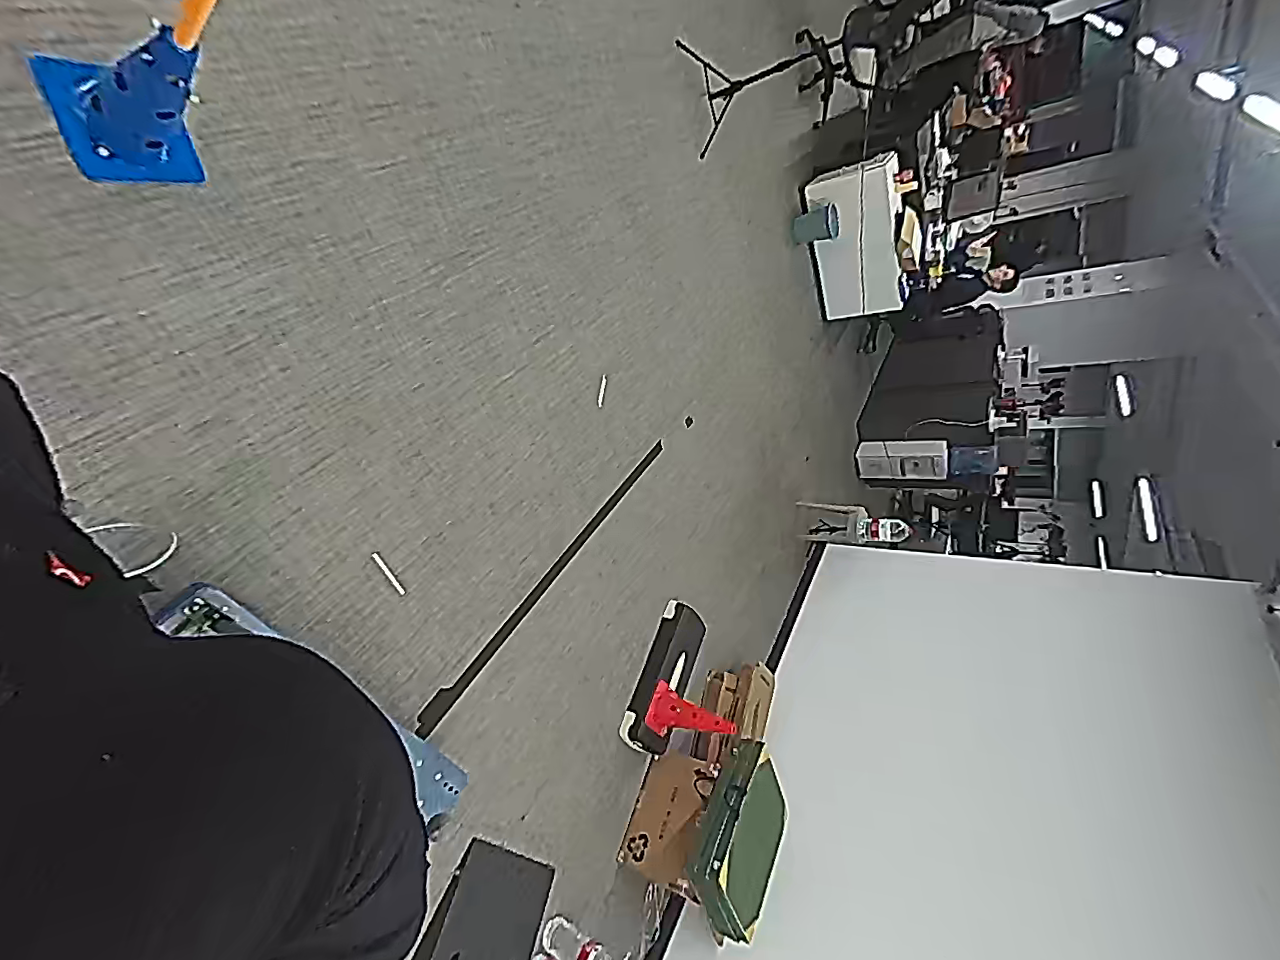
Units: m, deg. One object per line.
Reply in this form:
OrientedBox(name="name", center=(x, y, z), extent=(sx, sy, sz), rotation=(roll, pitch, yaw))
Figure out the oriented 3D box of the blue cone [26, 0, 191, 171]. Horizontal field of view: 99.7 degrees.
OrientedBox(name="blue cone", center=(-0.843, -0.682, 0.911), extent=(0.193, 0.380, 0.192), rotation=(-32, 116, -49))
